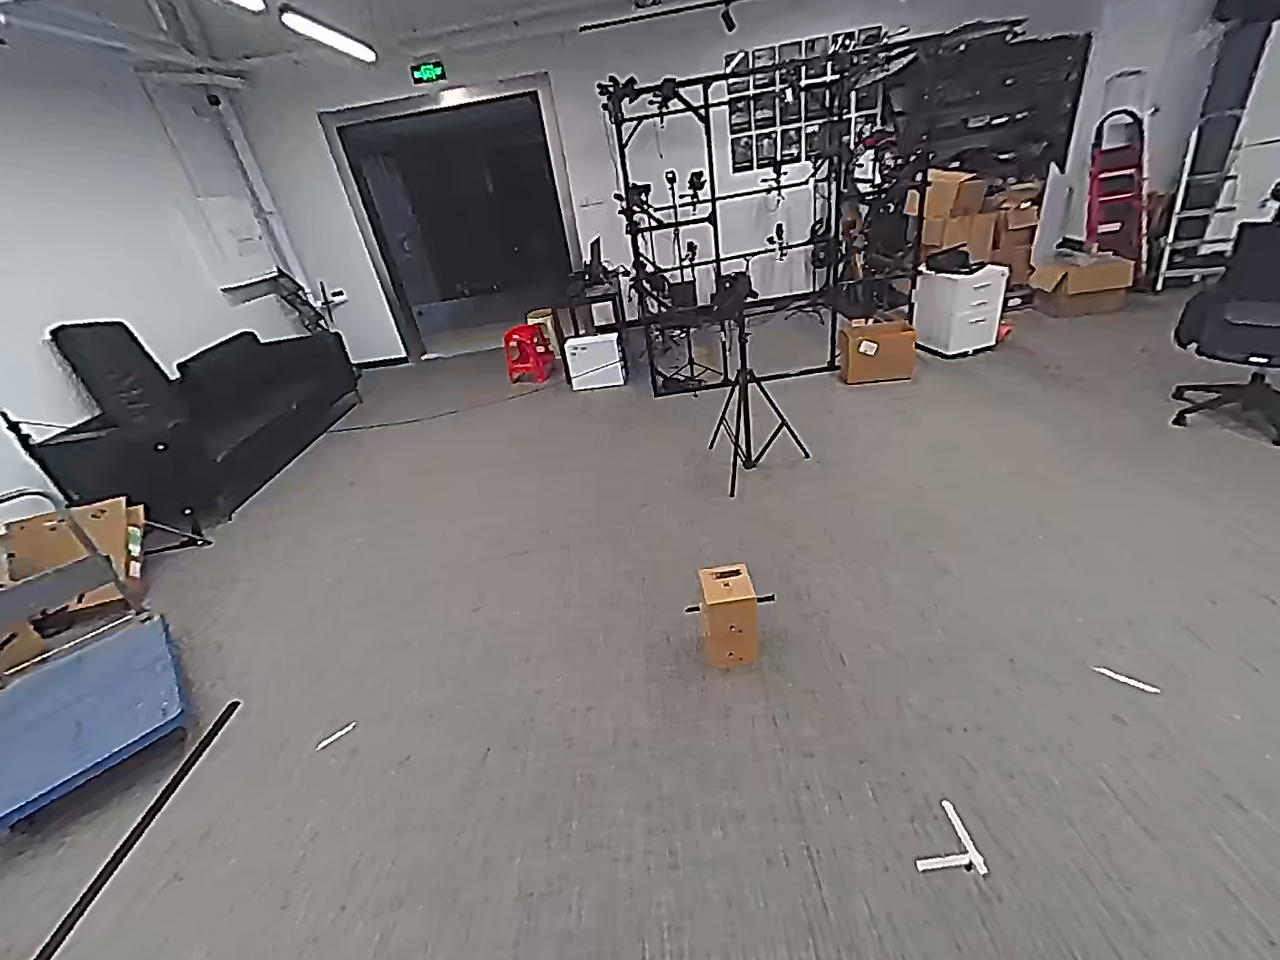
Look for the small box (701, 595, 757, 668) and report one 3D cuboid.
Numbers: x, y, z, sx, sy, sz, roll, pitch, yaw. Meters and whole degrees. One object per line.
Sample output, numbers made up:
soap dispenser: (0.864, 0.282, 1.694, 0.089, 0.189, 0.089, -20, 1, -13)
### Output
small box: (0.323, 0.551, 1.965, 0.168, 0.176, 0.179, -11, 29, -1)
